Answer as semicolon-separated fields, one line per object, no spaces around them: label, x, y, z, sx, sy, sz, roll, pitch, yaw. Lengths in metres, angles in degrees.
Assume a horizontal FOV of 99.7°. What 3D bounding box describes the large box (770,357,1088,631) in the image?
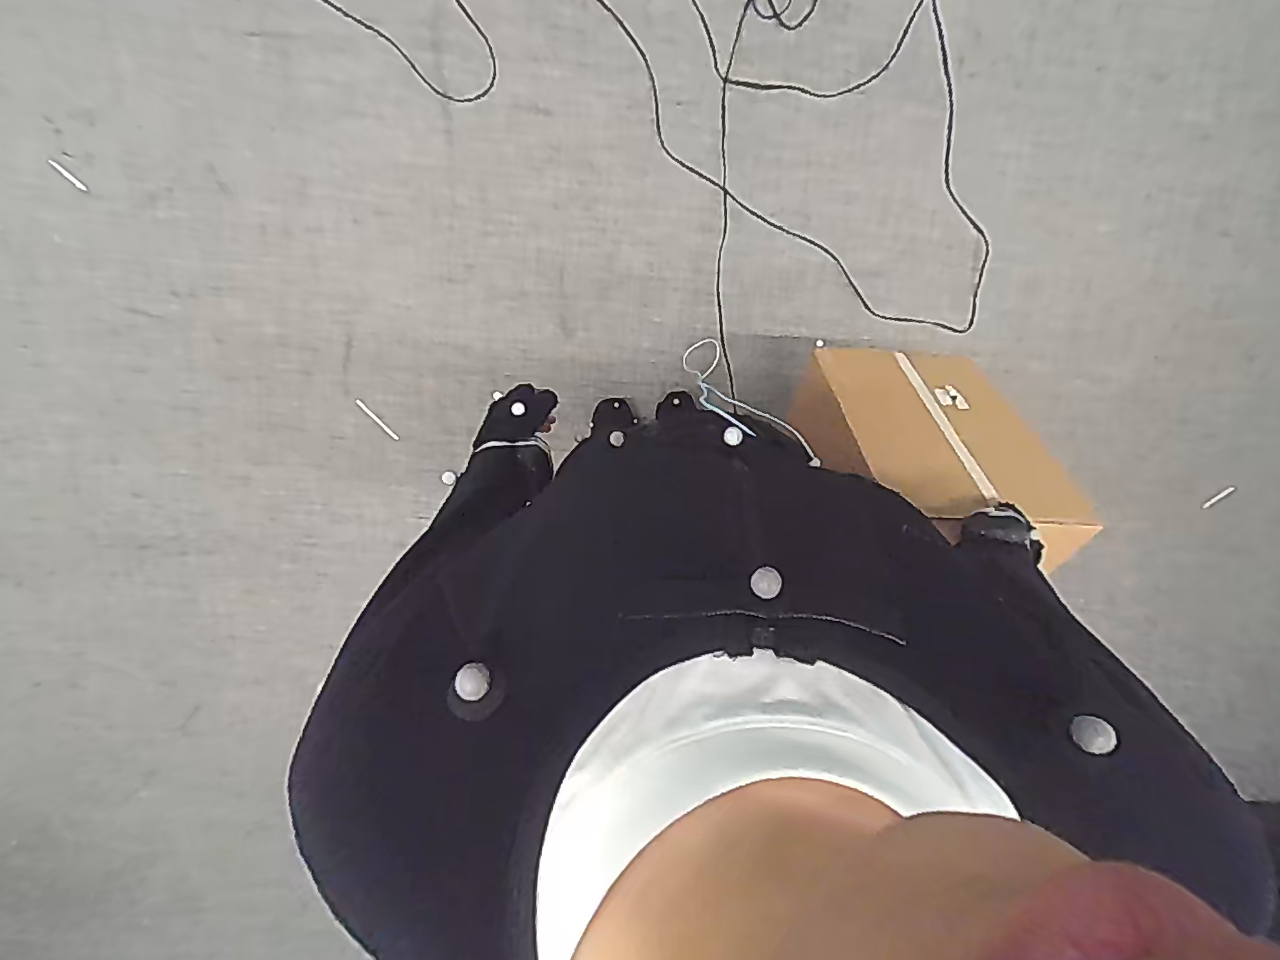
large box;0.459;0.024;0.985;0.320;0.408;0.320;3;135;-6
